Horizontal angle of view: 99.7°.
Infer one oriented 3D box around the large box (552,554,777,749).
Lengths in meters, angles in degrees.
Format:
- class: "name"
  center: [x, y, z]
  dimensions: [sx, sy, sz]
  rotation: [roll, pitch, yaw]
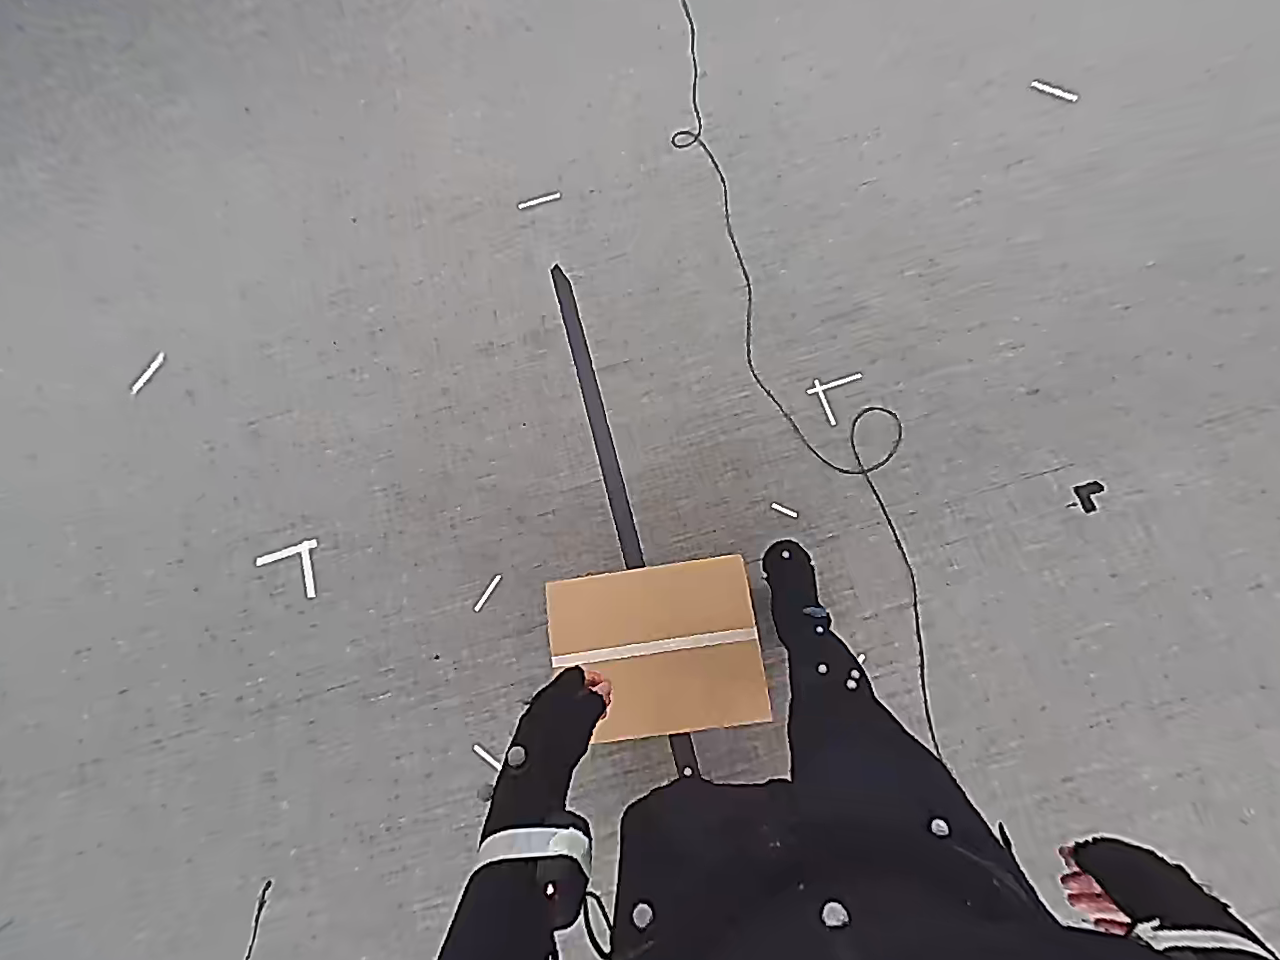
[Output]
- class: "large box"
  center: [0.049, 0.366, 1.186]
  dimensions: [0.408, 0.320, 0.320]
  rotation: [-9, 75, 3]
